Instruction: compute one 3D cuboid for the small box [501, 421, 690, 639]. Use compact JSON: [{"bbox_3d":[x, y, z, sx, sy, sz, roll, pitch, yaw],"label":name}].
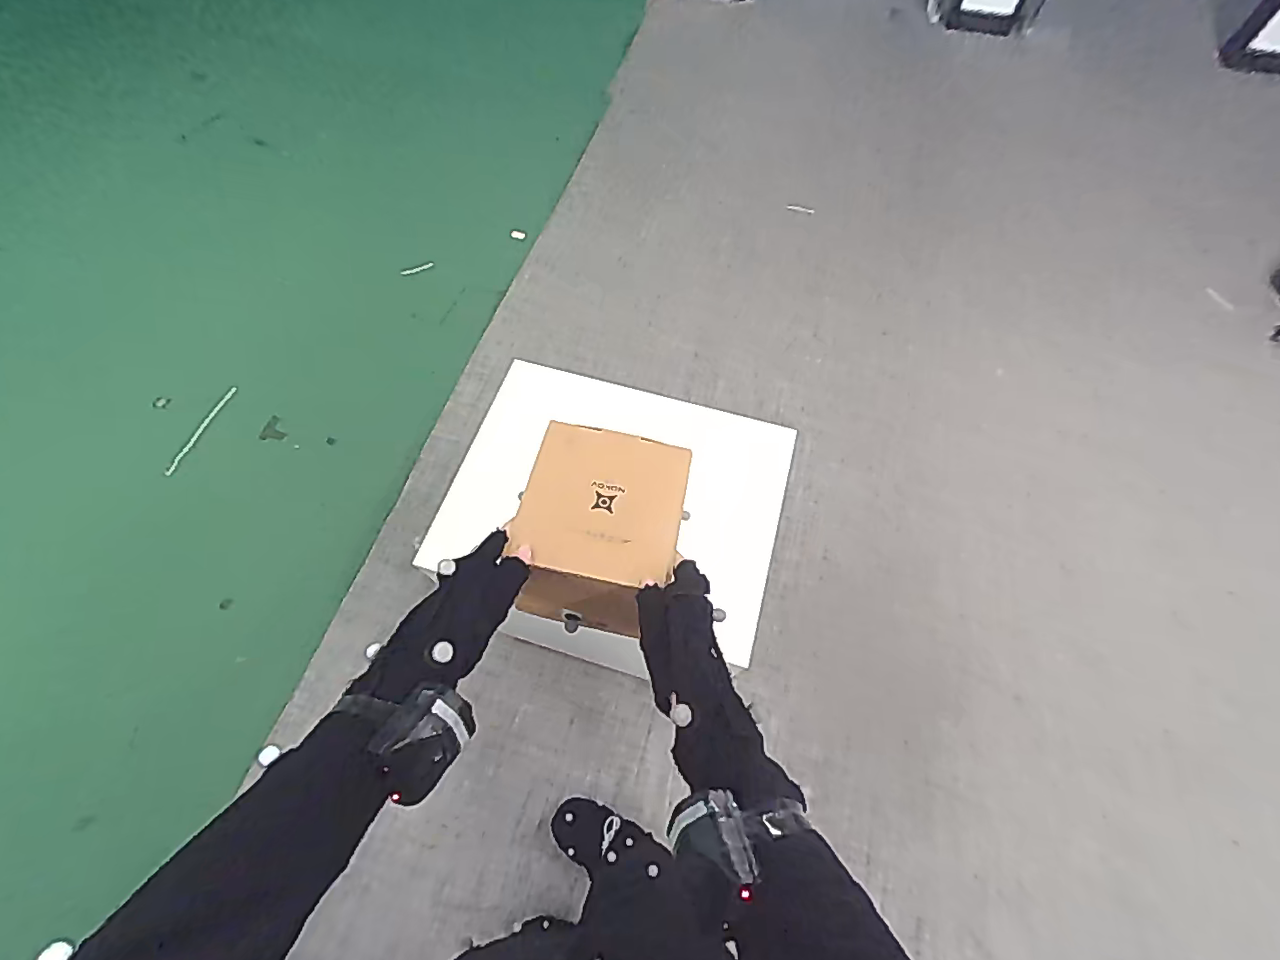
[{"bbox_3d":[-0.046,0.063,0.623,0.168,0.176,0.179,11,59,2],"label":"small box"}]
